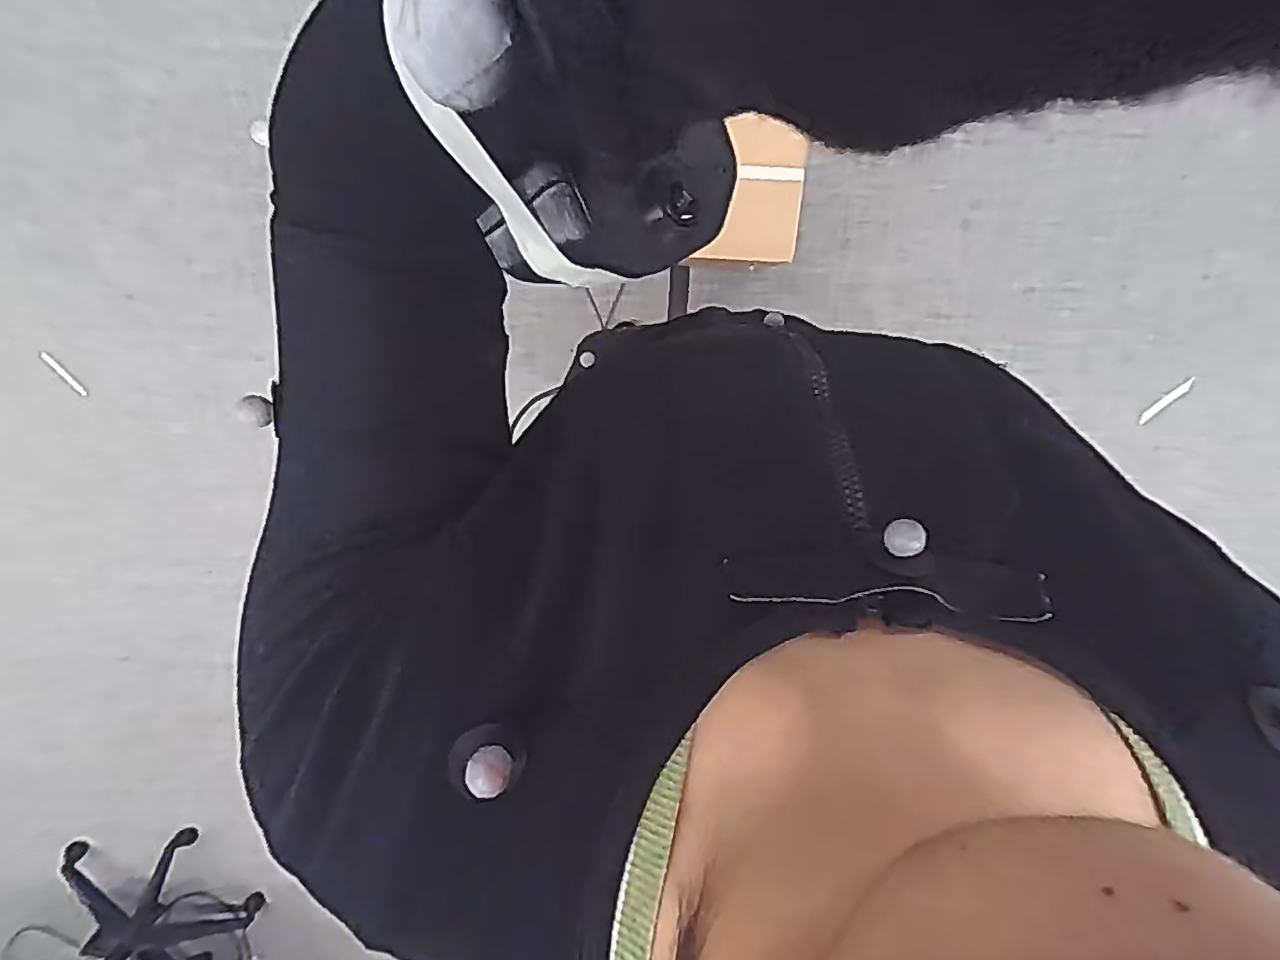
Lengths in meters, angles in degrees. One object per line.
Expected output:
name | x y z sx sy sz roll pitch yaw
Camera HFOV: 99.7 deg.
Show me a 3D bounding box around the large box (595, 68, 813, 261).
large box | 0.117 -0.650 1.174 0.408 0.320 0.320 3 109 -1
